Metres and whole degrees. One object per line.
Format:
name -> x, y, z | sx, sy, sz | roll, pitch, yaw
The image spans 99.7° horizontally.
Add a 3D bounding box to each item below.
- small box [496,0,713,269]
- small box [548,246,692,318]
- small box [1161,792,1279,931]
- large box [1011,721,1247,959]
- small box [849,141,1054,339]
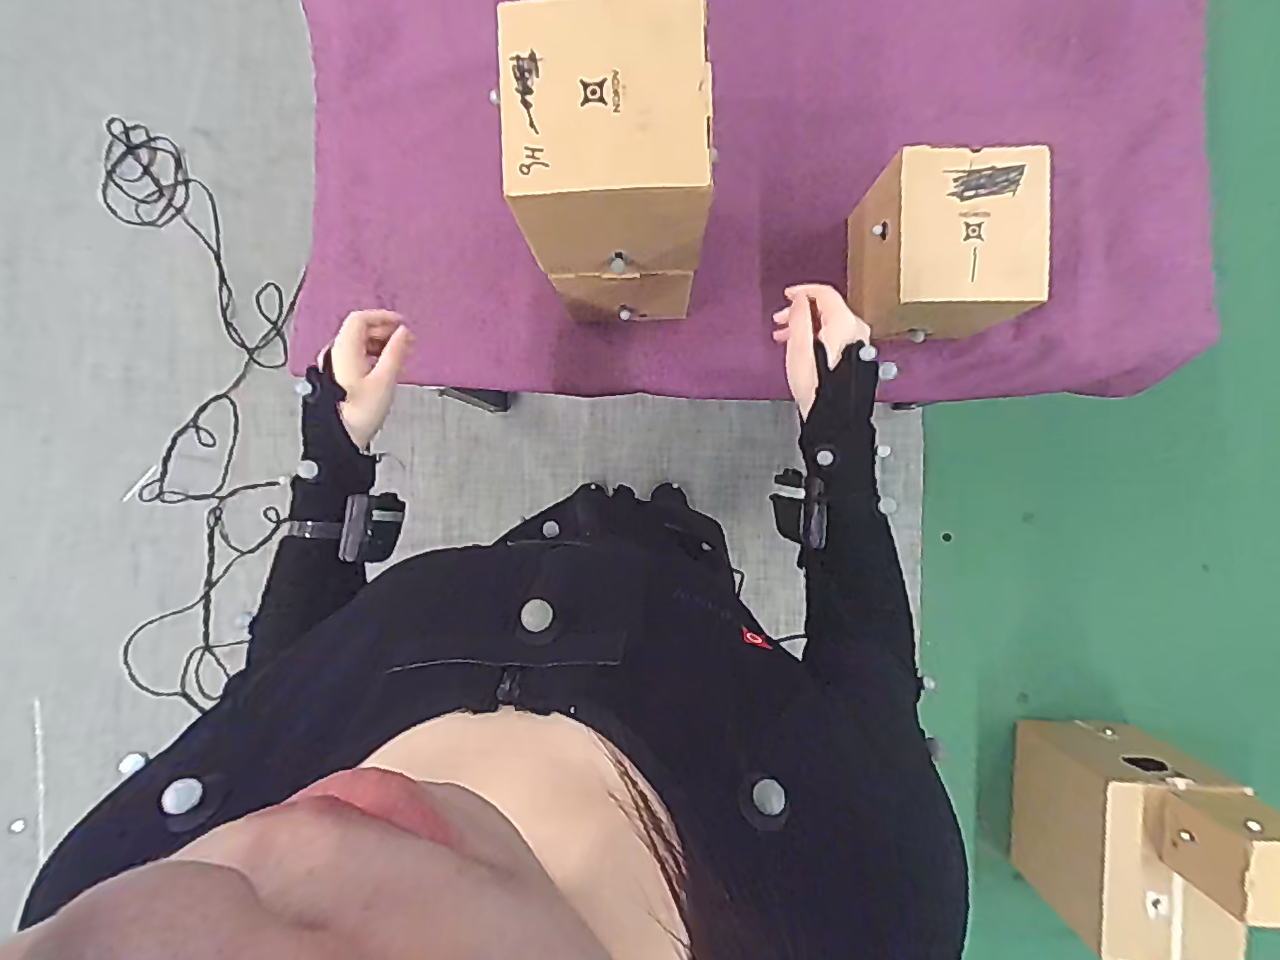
small box -> -0.029, -0.316, 0.516 | 0.179, 0.176, 0.168 | -1, 88, 1
small box -> -0.023, -0.317, 0.681 | 0.168, 0.176, 0.179 | -1, 89, 2
small box -> 1.214, 0.755, 1.083 | 0.179, 0.176, 0.168 | 2, 91, 1
large box -> 1.166, 0.856, 1.328 | 0.320, 0.320, 0.408 | 2, 92, 2
small box -> 0.371, -0.285, 0.672 | 0.168, 0.176, 0.179 | 0, 91, 2
